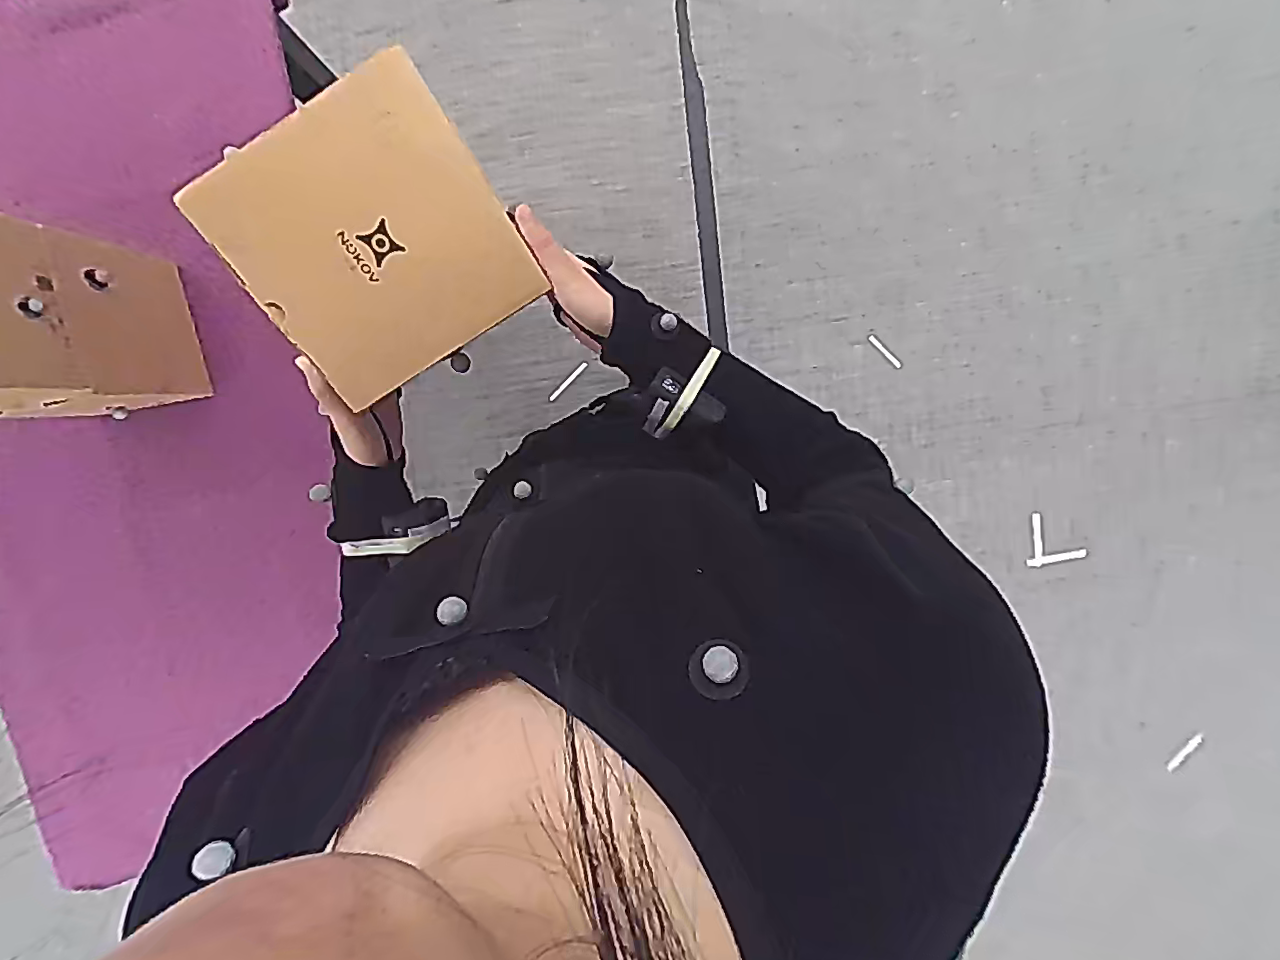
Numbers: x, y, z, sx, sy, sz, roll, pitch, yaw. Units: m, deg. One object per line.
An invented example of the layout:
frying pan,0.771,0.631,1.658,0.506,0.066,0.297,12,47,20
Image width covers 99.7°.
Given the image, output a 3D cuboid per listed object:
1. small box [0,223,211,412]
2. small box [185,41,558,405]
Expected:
small box,-0.666,-0.176,0.637,0.168,0.176,0.179,-9,100,1
small box,-0.183,-0.190,0.433,0.179,0.176,0.168,-31,112,5
